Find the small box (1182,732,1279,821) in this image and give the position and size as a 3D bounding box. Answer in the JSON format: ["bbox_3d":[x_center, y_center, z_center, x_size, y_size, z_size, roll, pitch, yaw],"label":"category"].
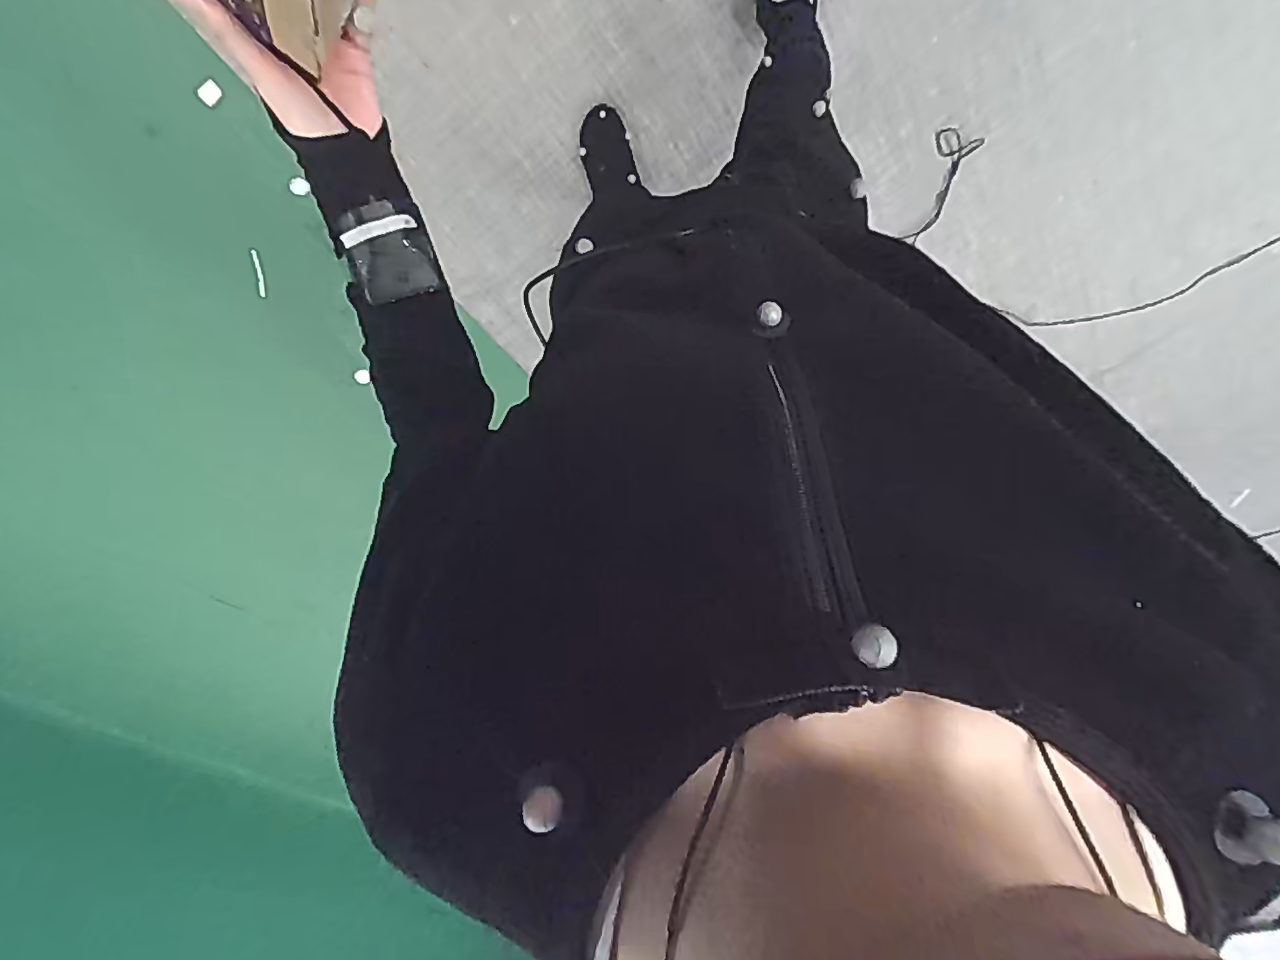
[{"bbox_3d":[1.625,0.778,1.442,0.179,0.176,0.168,-18,127,15],"label":"small box"}]

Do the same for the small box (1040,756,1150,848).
[{"bbox_3d":[1.305,0.924,1.558,0.179,0.176,0.168,-30,123,20],"label":"small box"}]
